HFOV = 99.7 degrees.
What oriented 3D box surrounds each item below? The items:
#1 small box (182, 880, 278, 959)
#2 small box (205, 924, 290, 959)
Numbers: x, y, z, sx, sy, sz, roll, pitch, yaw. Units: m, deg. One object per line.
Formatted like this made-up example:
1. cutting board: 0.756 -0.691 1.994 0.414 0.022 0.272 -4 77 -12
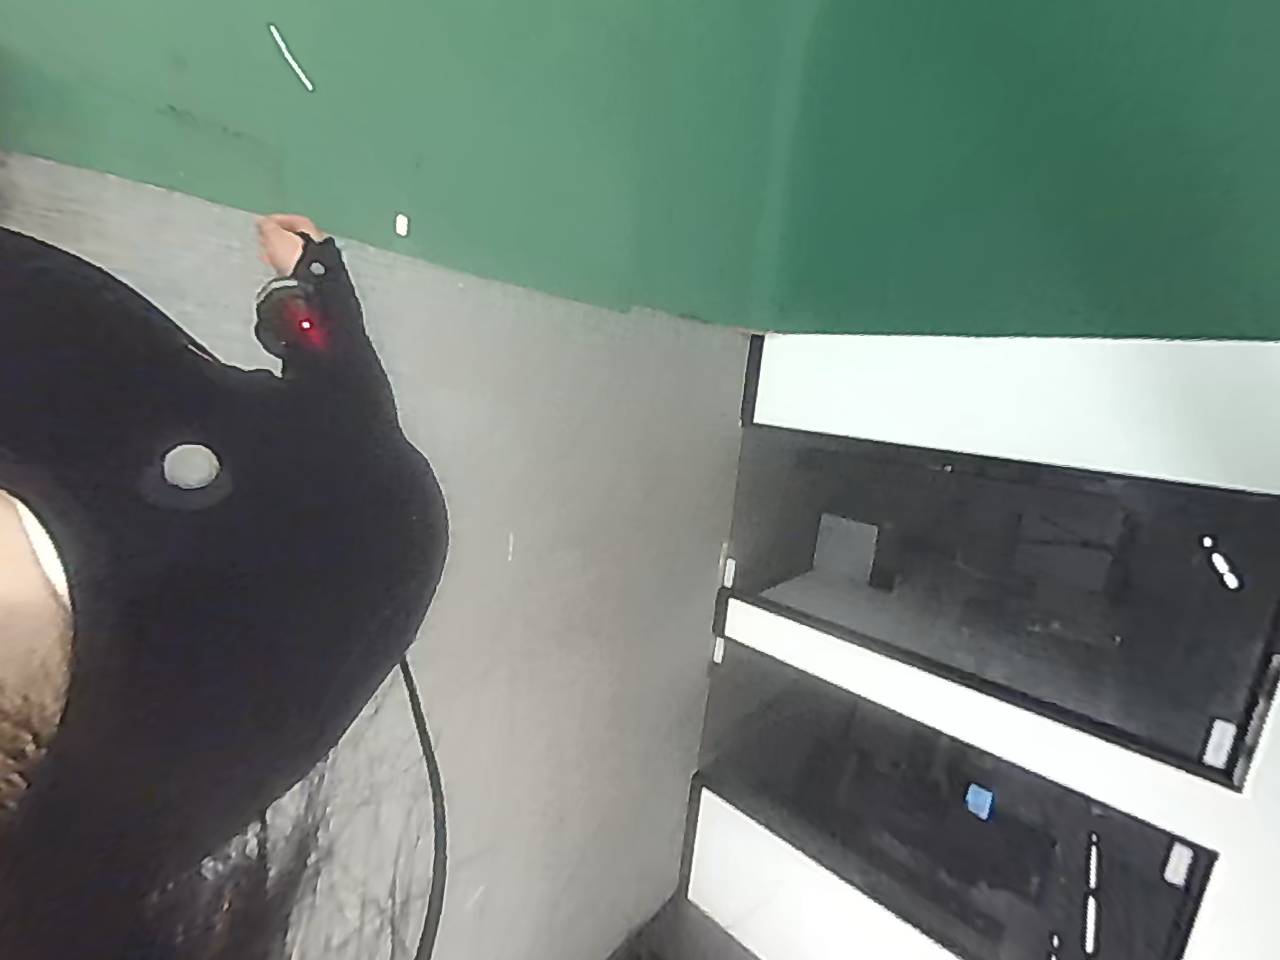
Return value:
1. small box: -1.037 1.164 1.365 0.168 0.176 0.179 -4 103 -49
2. small box: -0.922 1.201 1.255 0.179 0.176 0.168 -3 102 -48
